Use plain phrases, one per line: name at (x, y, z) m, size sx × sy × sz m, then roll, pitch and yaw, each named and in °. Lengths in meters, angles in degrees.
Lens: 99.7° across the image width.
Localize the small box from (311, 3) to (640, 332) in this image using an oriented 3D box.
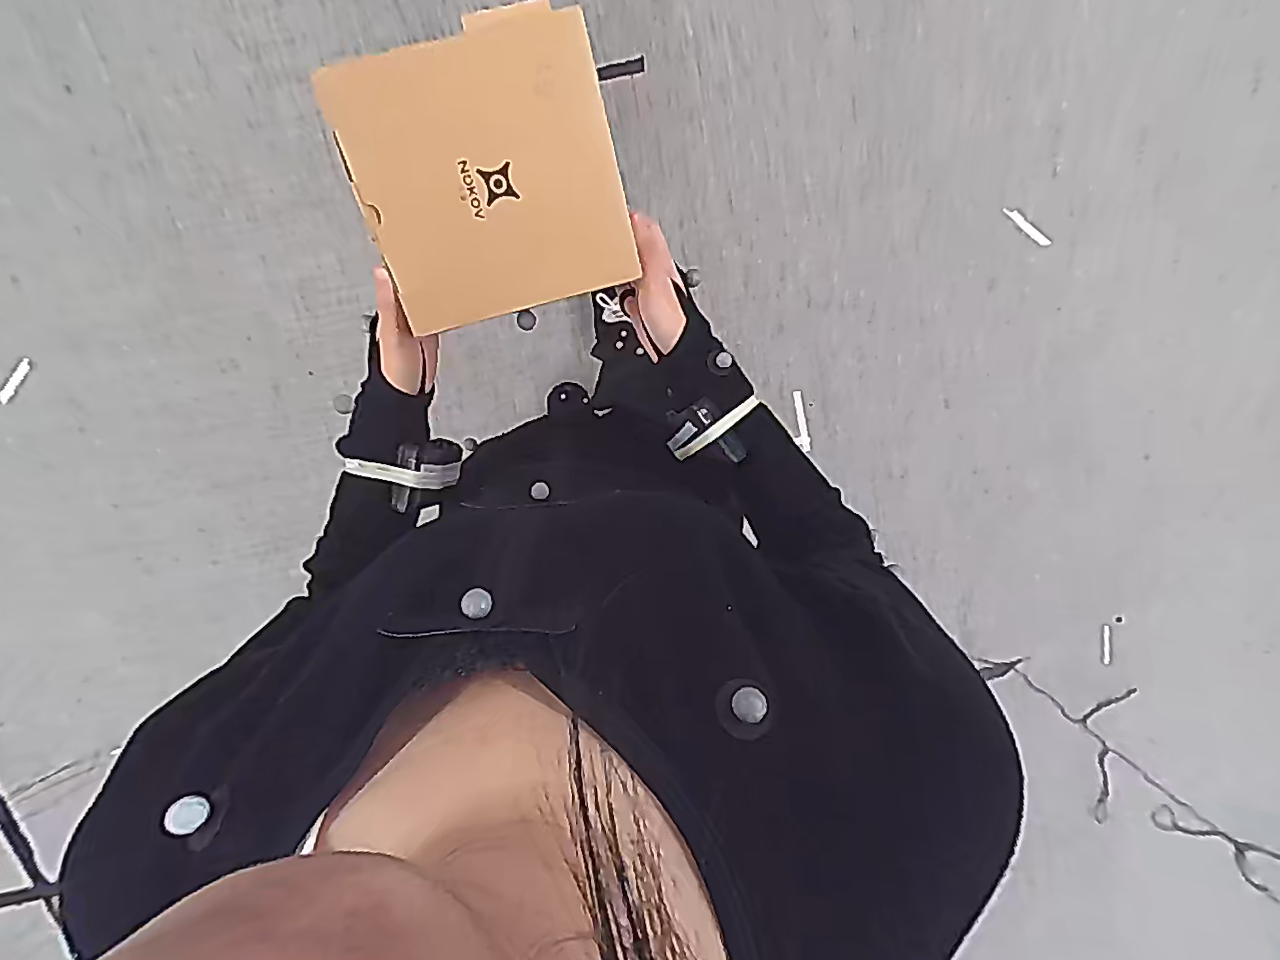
small box at (-0.112, -0.232, 0.437) m, size 0.179 × 0.176 × 0.168 m, roll -16°, pitch 113°, yaw -1°
